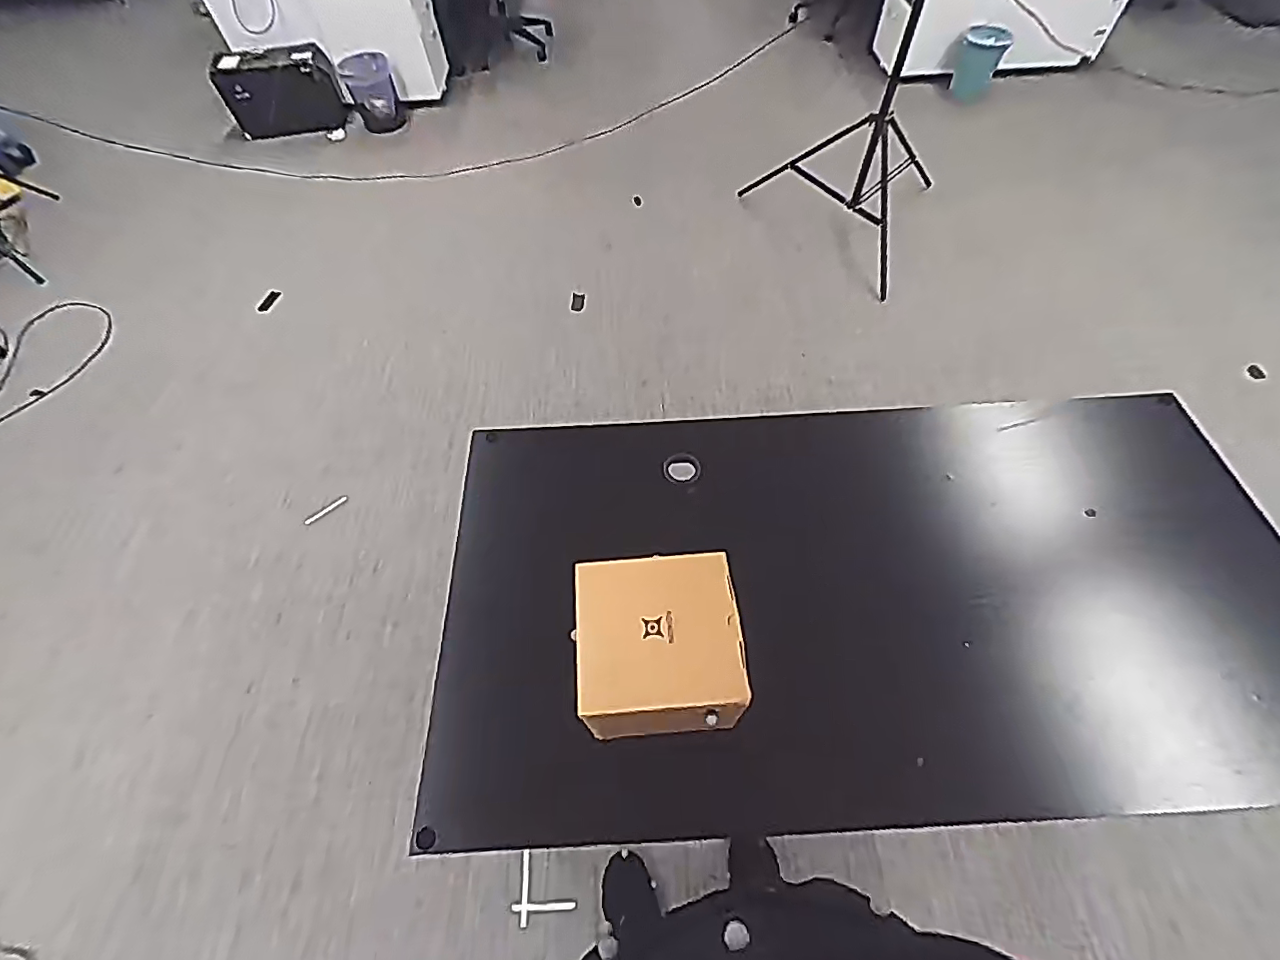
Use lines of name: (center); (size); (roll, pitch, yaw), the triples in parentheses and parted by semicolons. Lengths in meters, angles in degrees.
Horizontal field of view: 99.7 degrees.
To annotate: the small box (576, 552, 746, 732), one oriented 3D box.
small box: (0.020, 0.202, 0.657); (0.179, 0.176, 0.168); (-5, 58, -2)
